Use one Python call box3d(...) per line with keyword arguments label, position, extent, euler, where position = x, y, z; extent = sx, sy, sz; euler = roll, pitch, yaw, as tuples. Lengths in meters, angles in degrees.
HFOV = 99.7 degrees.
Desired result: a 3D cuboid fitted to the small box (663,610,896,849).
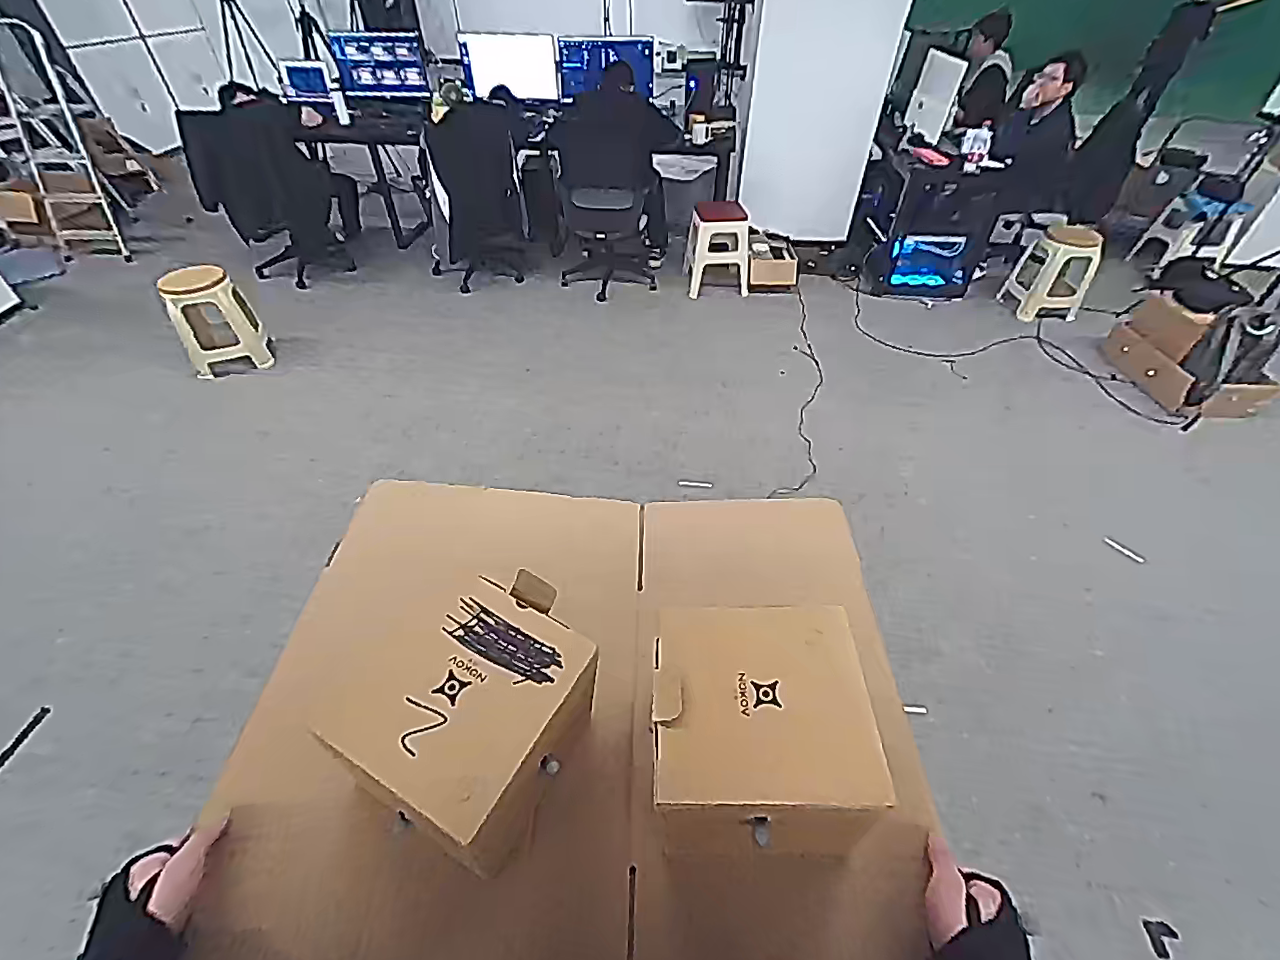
box3d(label="small box", position=(0.113, 0.239, 0.518), extent=(0.179, 0.176, 0.168), euler=(-3, 46, 4))
